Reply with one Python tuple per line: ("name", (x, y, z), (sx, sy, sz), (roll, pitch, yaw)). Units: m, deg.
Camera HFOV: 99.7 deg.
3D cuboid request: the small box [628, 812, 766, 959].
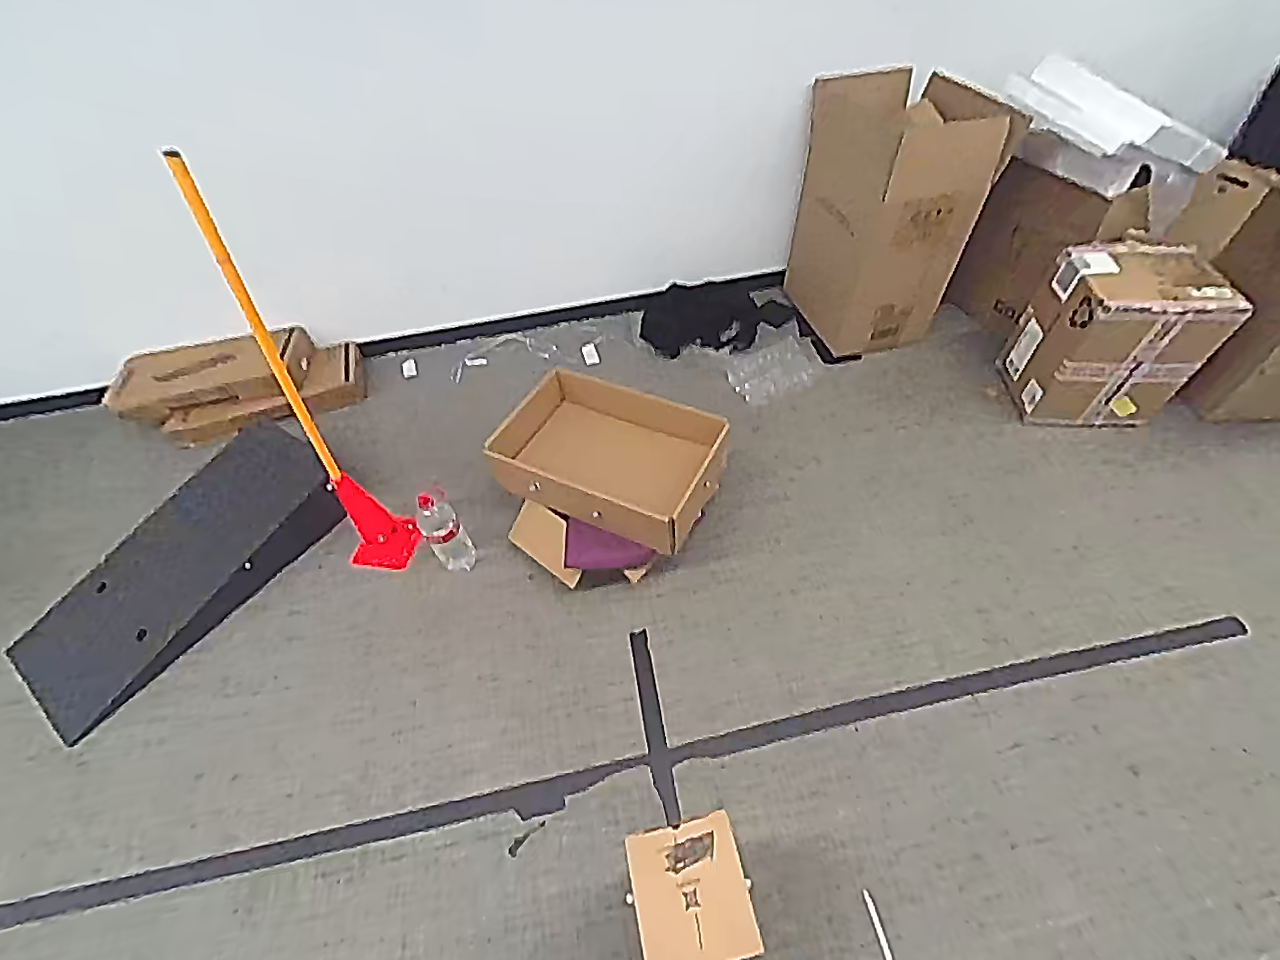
("small box", (0.080, 0.649, 0.843), (0.168, 0.176, 0.179), (-12, 51, -5))
